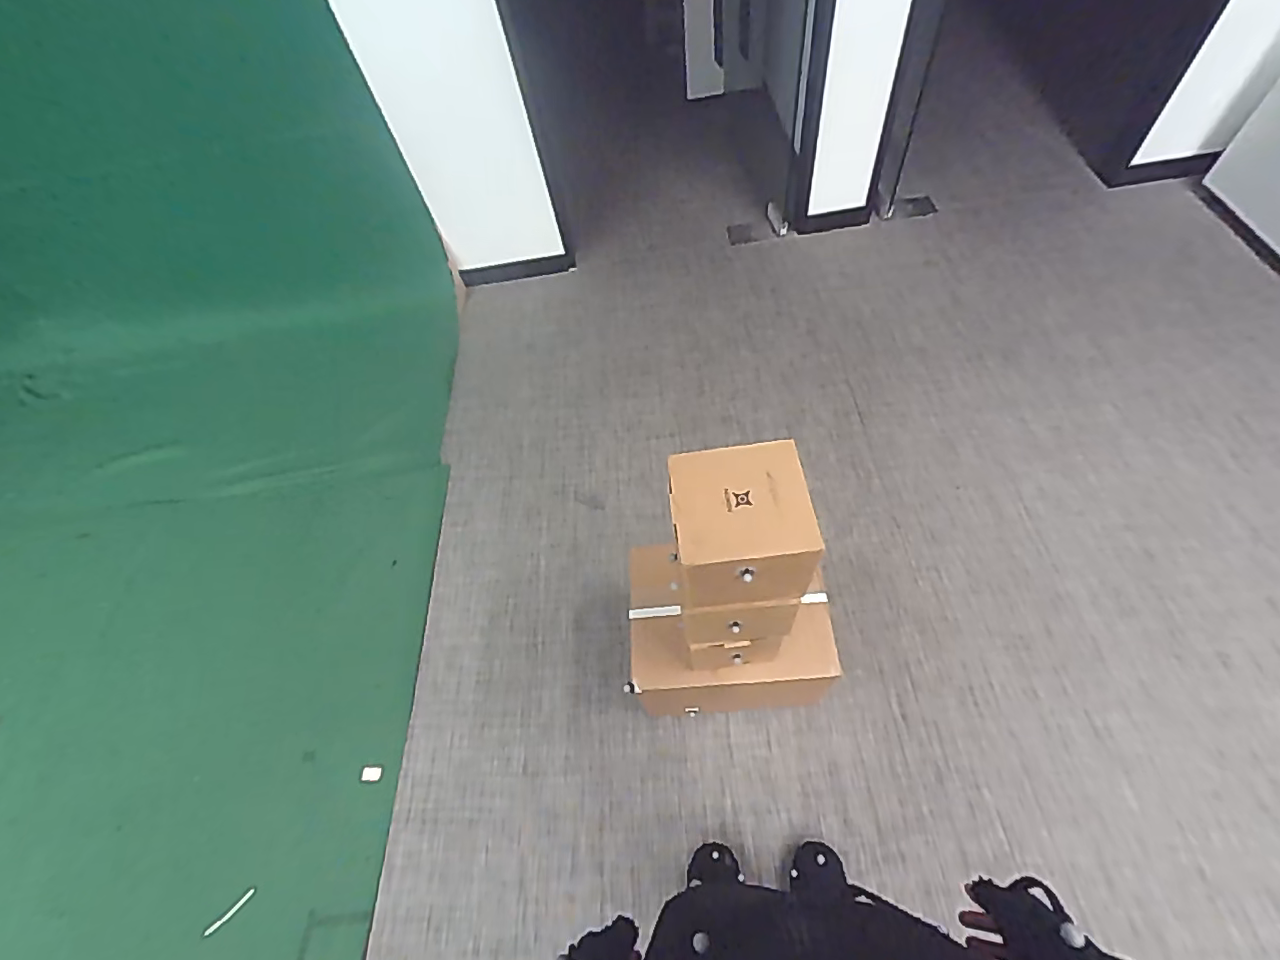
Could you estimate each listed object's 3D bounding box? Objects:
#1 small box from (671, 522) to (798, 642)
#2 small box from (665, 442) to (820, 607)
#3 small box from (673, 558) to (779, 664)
[{"bbox_3d":[0.149,0.160,0.893,0.179,0.176,0.168,-7,58,5],"label":"small box"},{"bbox_3d":[0.134,0.070,0.760,0.179,0.176,0.168,-7,59,3],"label":"small box"},{"bbox_3d":[0.161,0.246,1.034,0.168,0.176,0.179,-9,59,3],"label":"small box"}]
